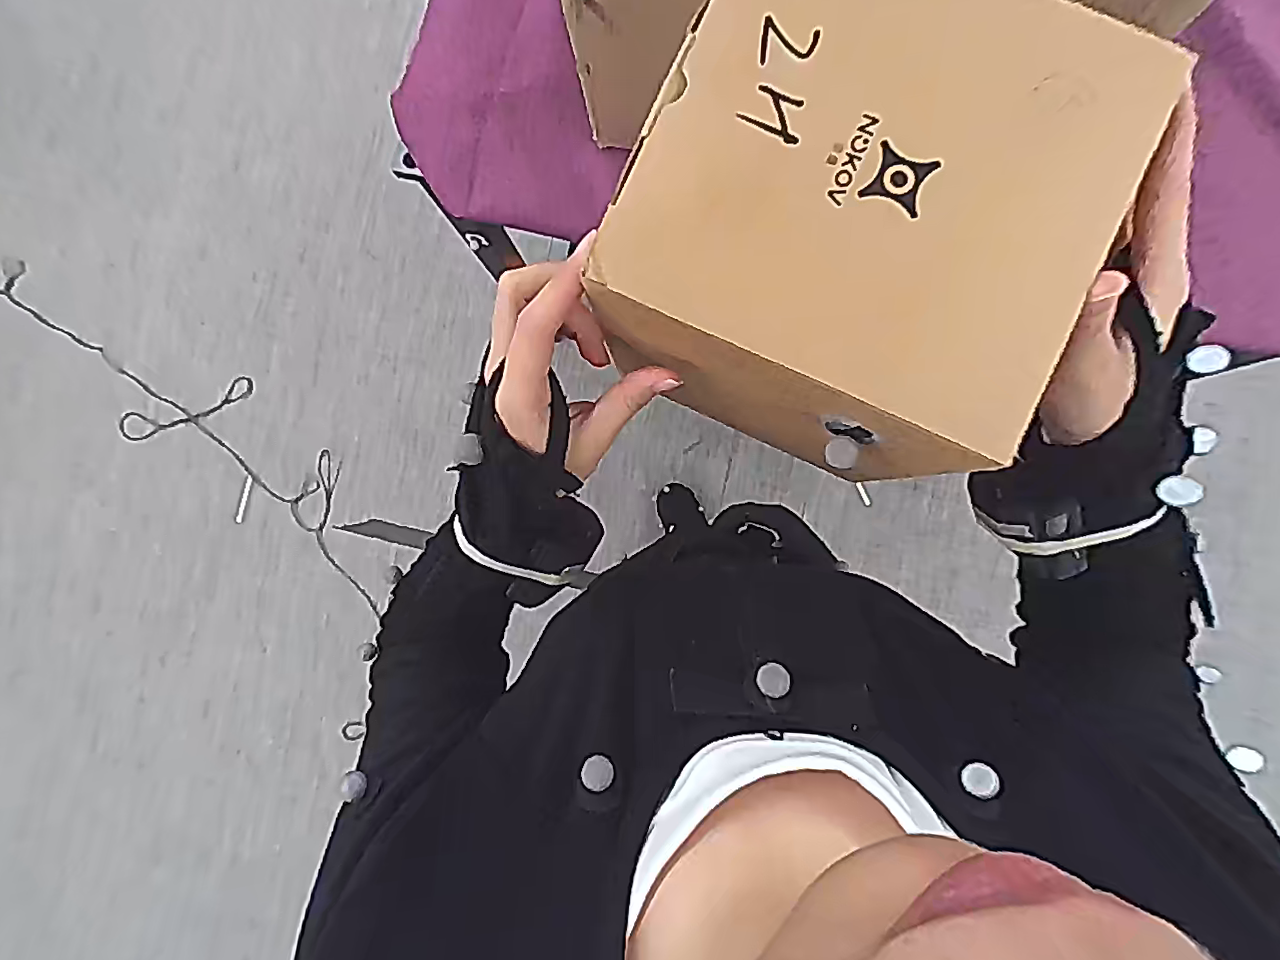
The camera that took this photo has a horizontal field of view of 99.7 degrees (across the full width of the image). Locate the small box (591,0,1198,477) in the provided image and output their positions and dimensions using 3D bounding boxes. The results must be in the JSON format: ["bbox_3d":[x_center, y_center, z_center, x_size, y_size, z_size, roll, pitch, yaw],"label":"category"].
[{"bbox_3d":[0.097,-0.109,0.281,0.179,0.176,0.168,25,89,4],"label":"small box"}]
